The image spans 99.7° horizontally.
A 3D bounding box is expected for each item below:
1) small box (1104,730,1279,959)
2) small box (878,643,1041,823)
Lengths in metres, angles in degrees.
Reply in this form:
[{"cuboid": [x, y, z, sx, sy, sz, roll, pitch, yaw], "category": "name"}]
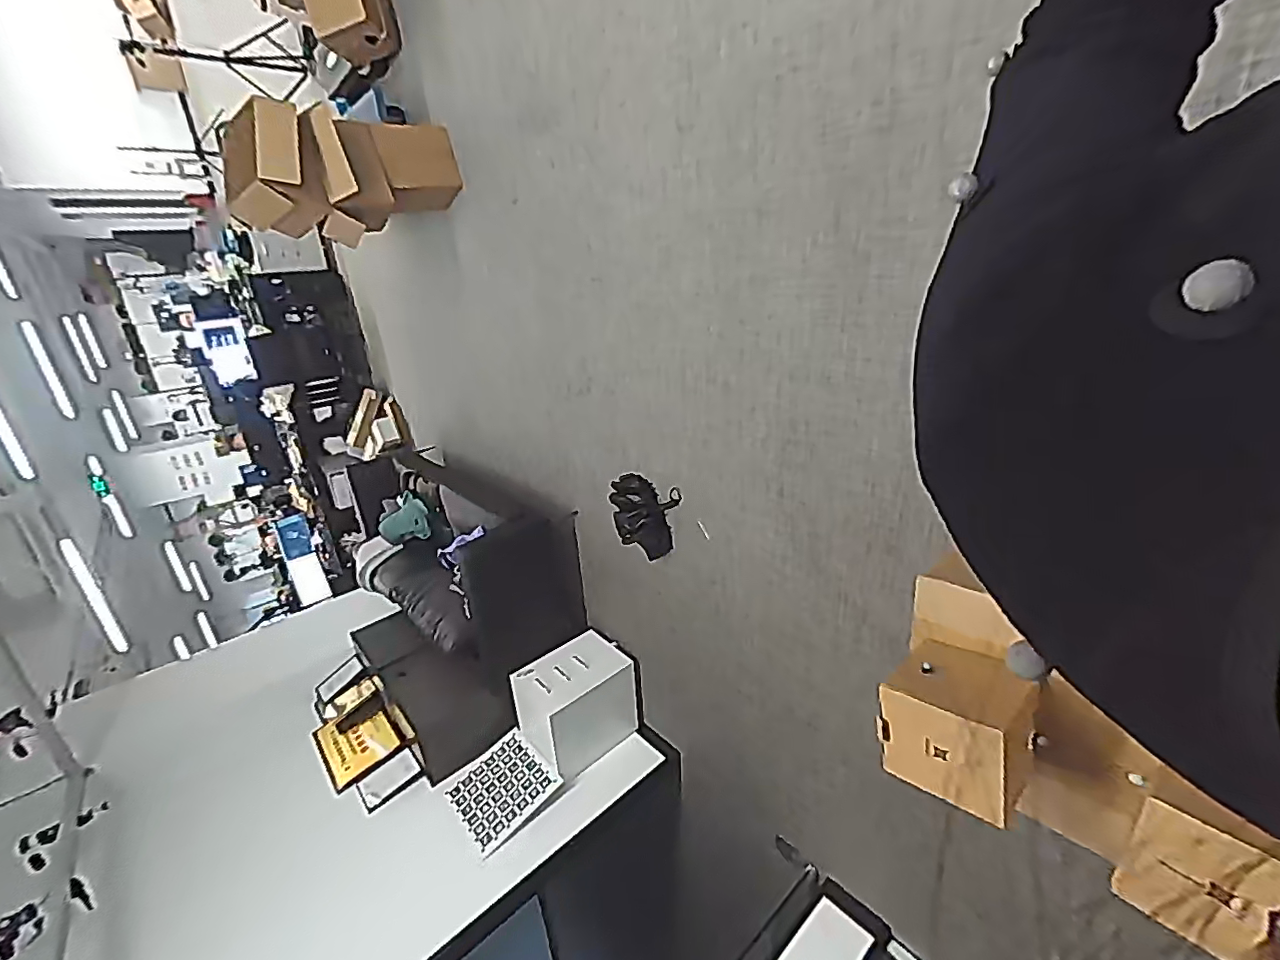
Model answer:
[{"cuboid": [0.697, 0.437, 0.635, 0.179, 0.176, 0.168, 22, 120, 46], "category": "small box"}, {"cuboid": [0.505, 0.382, 0.859, 0.179, 0.176, 0.168, 7, 111, 49], "category": "small box"}]
